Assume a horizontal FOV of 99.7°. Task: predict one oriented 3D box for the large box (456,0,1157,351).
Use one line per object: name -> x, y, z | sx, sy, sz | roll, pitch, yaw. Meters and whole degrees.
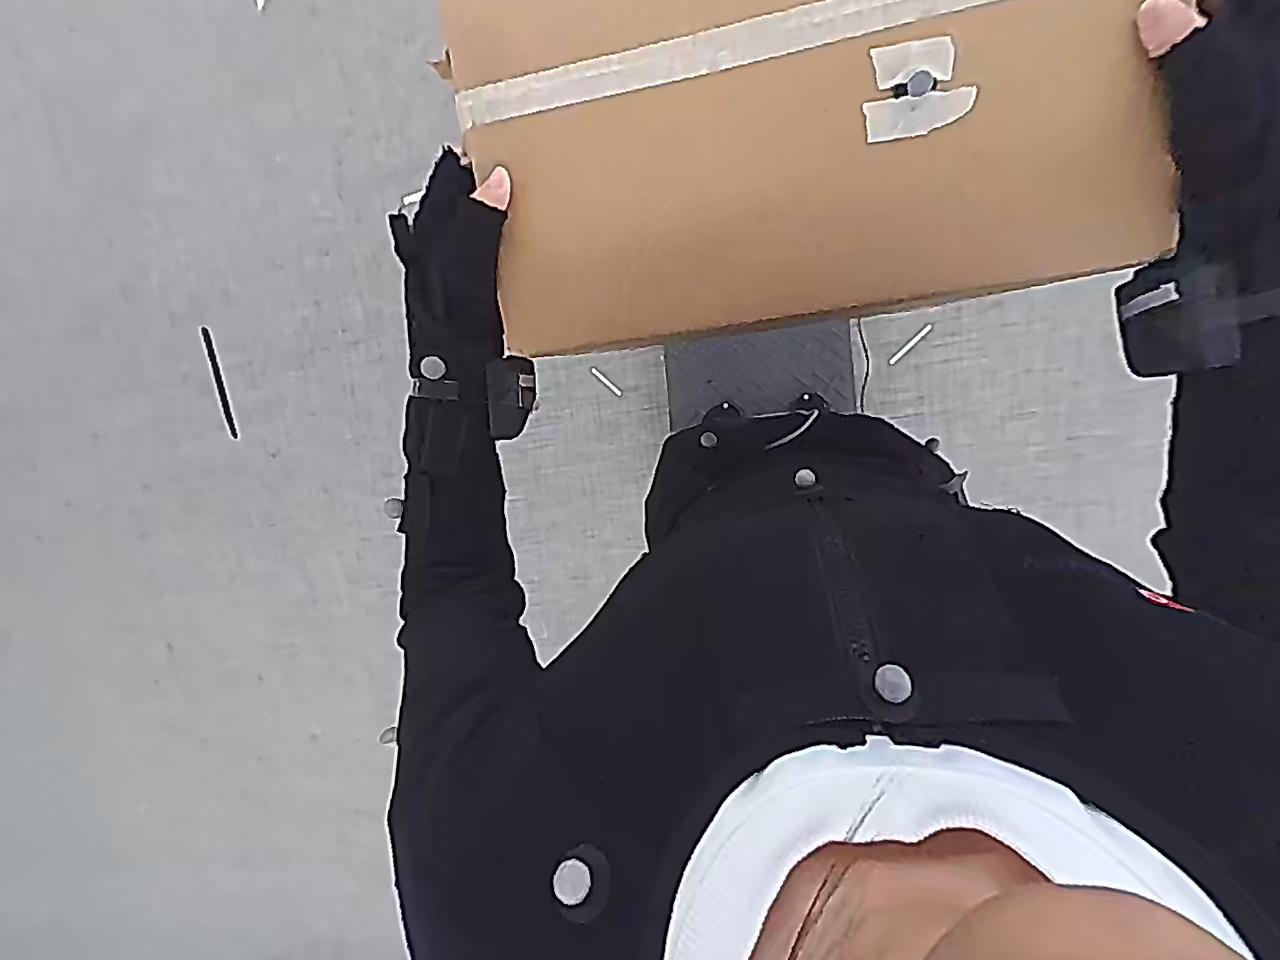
large box -> 0.105, -0.298, 0.469 | 0.408, 0.320, 0.320 | -6, 103, 9
